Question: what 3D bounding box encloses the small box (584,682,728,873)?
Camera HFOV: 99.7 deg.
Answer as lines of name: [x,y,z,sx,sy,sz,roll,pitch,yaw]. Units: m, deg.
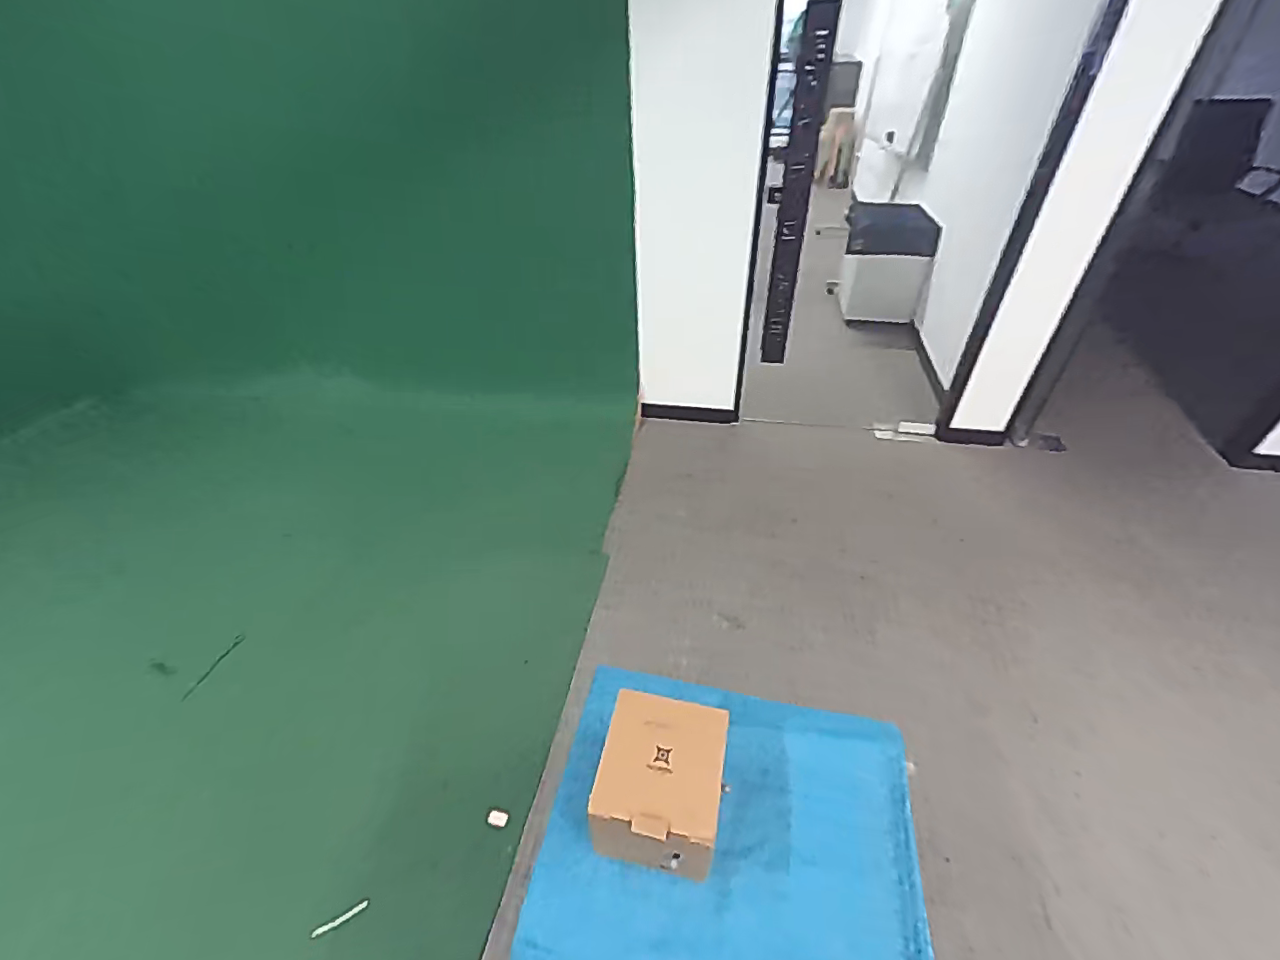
small box: [0.029,0.430,0.782,0.168,0.176,0.179,10,41,10]
